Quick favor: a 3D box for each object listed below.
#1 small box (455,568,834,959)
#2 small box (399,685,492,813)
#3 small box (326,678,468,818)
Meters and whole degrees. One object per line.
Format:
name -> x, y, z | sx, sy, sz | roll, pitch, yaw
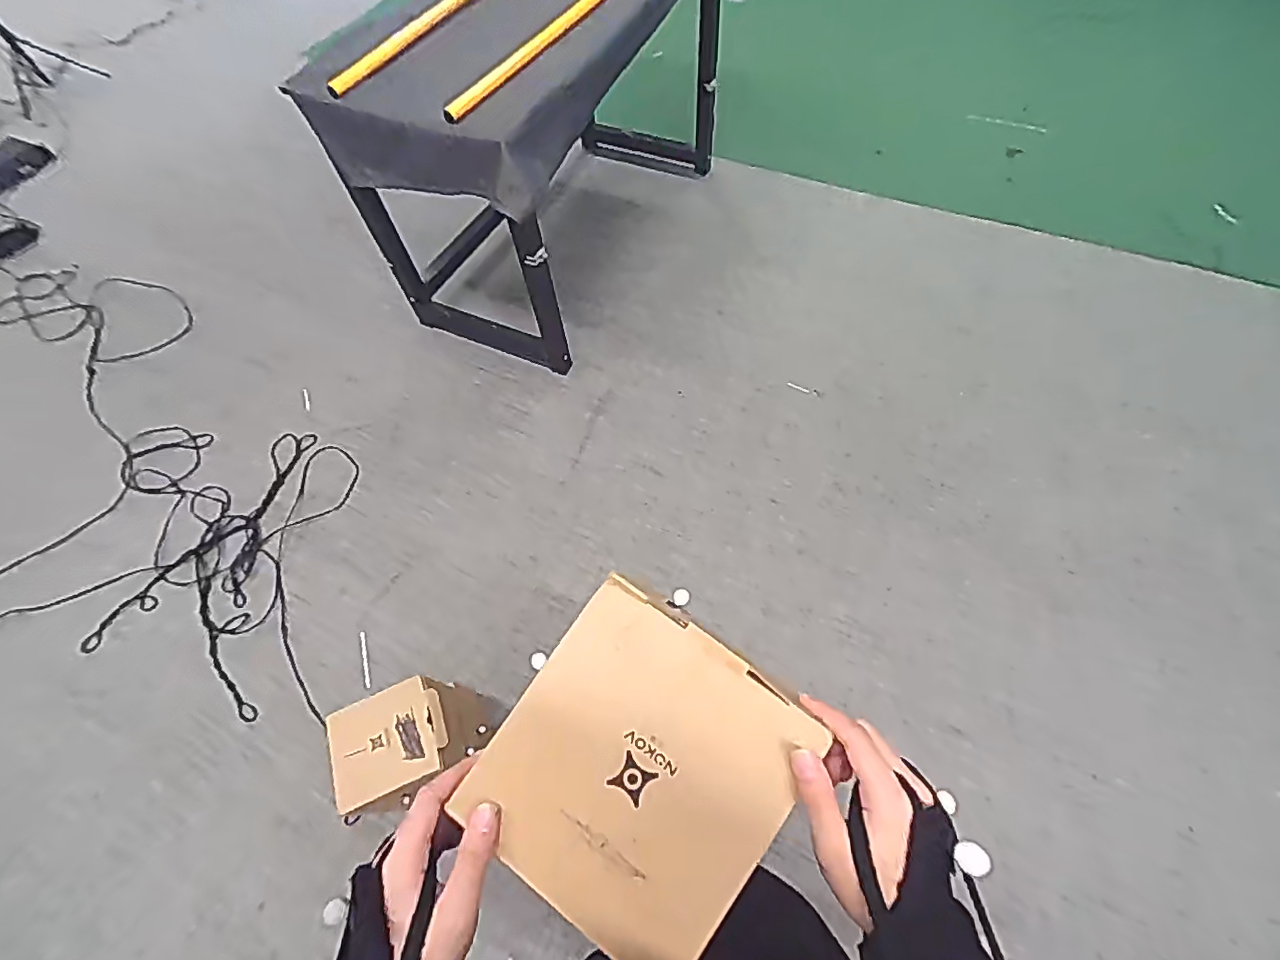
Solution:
small box -> 0.008, 0.184, 0.397 | 0.168, 0.176, 0.179 | 33, 84, 12
small box -> -0.410, 0.556, 1.125 | 0.168, 0.176, 0.179 | -27, 62, -11
small box -> -0.427, 0.482, 0.977 | 0.179, 0.176, 0.168 | -22, 61, -8
